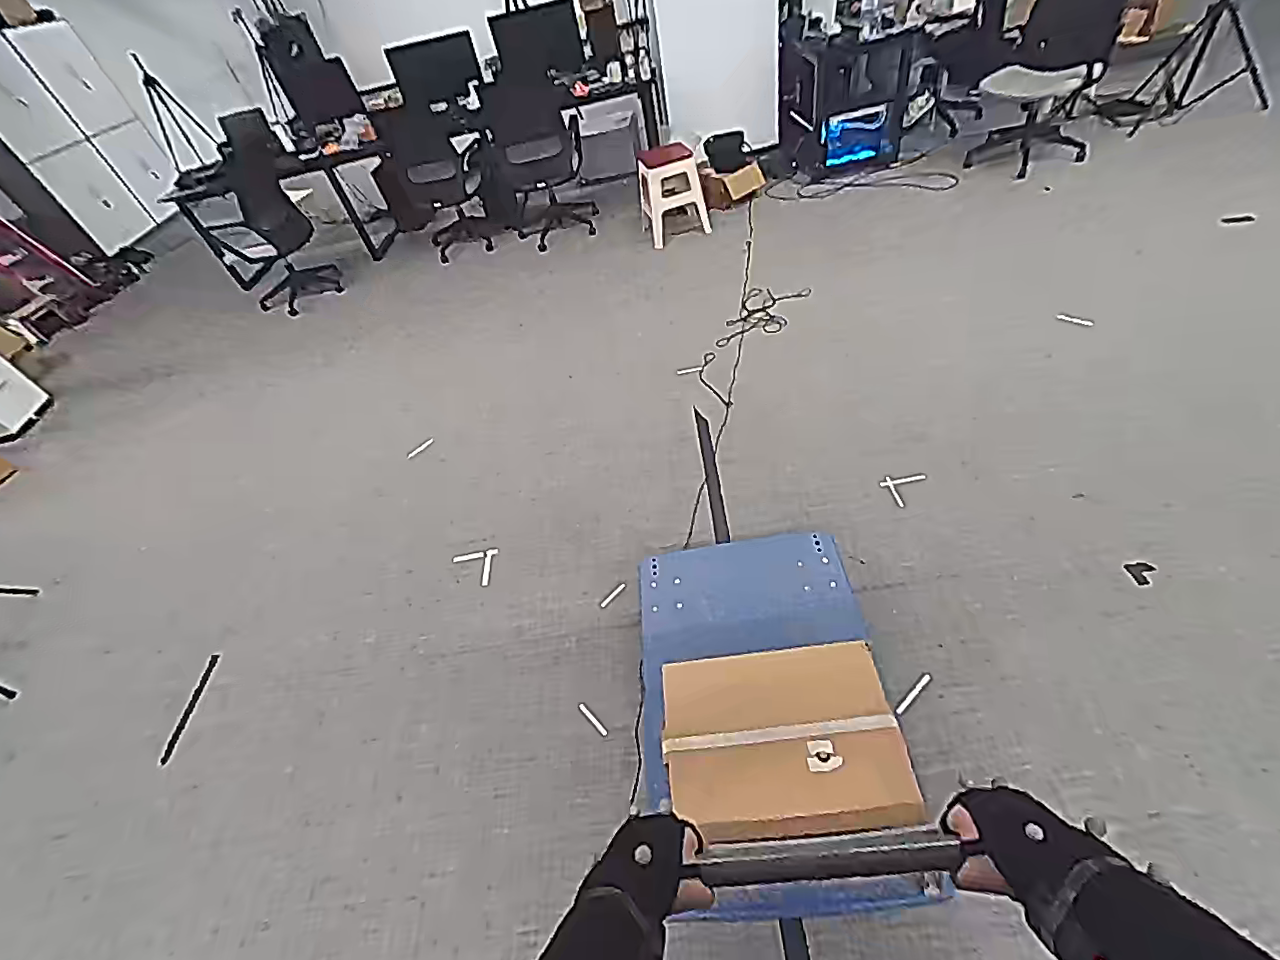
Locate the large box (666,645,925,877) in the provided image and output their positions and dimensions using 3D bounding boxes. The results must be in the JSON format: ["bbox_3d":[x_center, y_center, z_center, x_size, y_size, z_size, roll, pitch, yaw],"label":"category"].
[{"bbox_3d":[0.278,0.567,1.083,0.408,0.320,0.320,-9,46,5],"label":"large box"}]
